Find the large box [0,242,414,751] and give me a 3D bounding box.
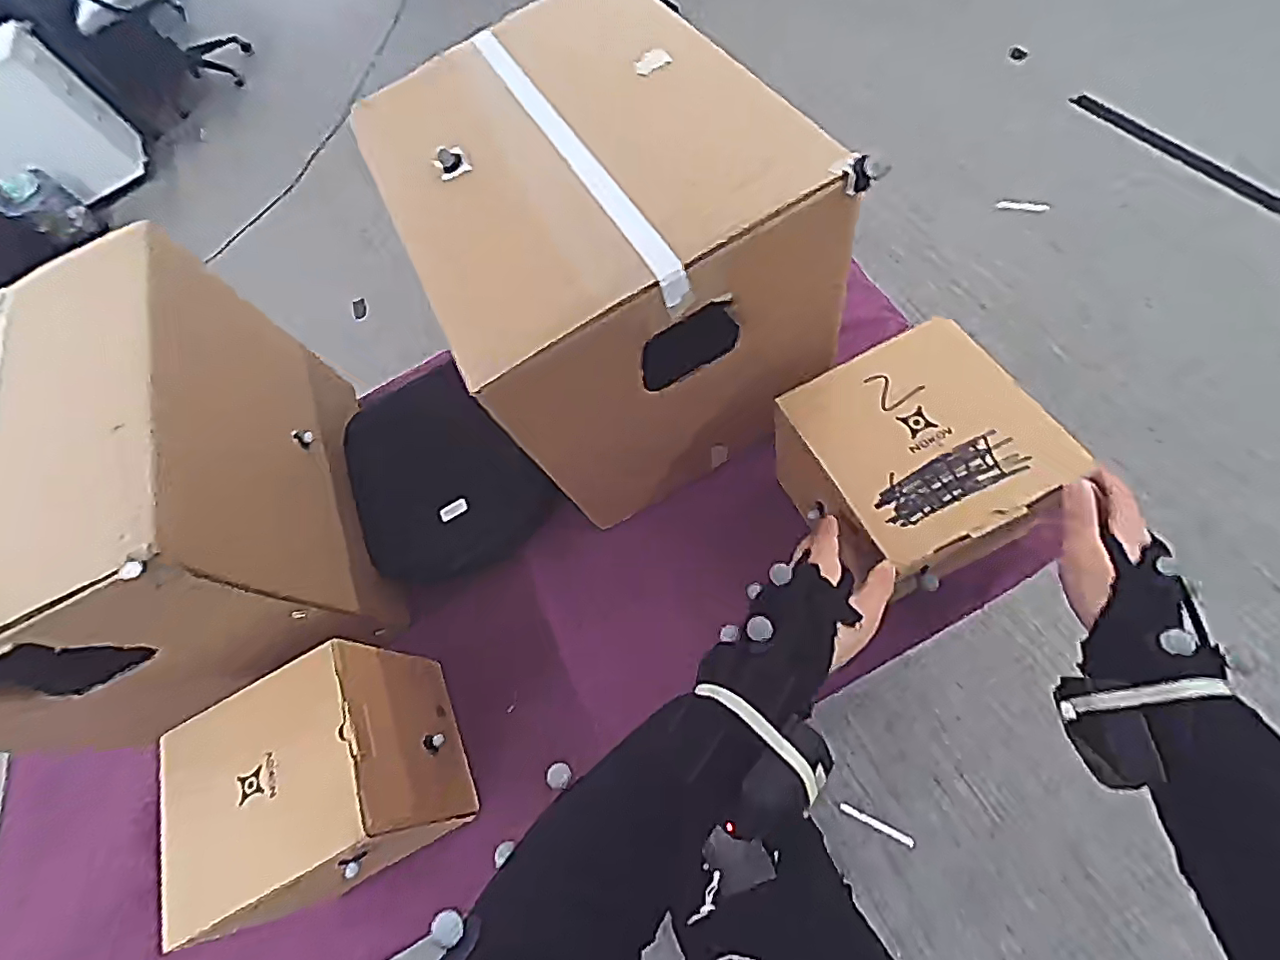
[{"bbox_3d":[-0.517,0.033,0.609,0.320,0.320,0.408,-28,65,1],"label":"large box"}]
